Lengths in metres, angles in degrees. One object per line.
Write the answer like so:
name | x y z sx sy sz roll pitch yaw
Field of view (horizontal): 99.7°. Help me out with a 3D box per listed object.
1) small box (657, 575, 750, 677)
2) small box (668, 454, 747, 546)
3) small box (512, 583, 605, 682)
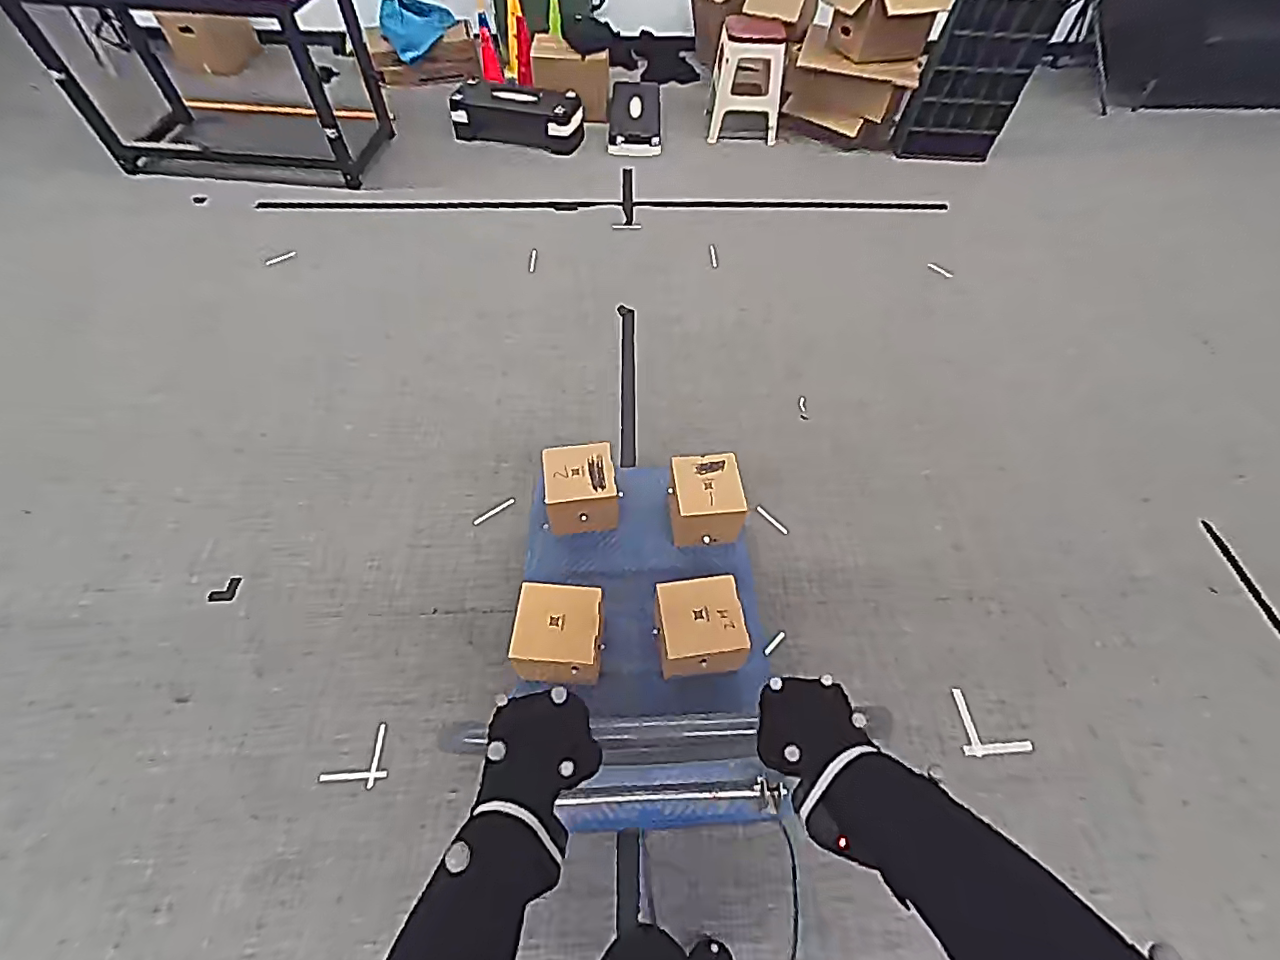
small box | 0.134 0.333 1.219 0.179 0.176 0.168 -6 56 -5
small box | 0.168 0.055 1.409 0.168 0.176 0.179 -4 57 -4
small box | -0.173 0.344 1.206 0.179 0.176 0.168 4 55 0
